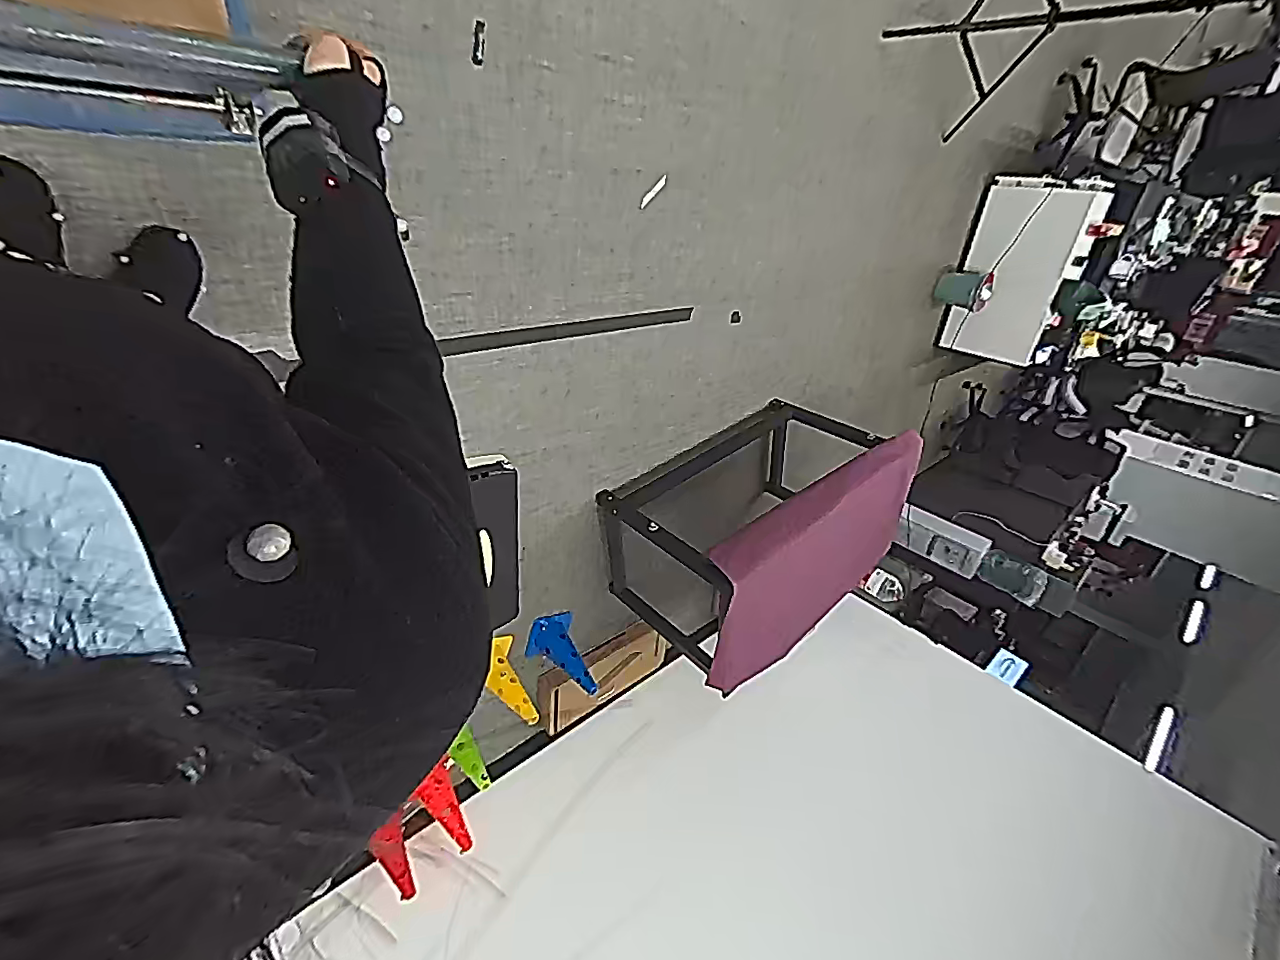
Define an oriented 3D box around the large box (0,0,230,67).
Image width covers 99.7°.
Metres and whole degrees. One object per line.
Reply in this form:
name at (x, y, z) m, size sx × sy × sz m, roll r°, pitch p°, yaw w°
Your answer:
large box at (-0.762, -0.692, 0.597) m, size 0.408 × 0.320 × 0.320 m, roll -20°, pitch 128°, yaw -38°
